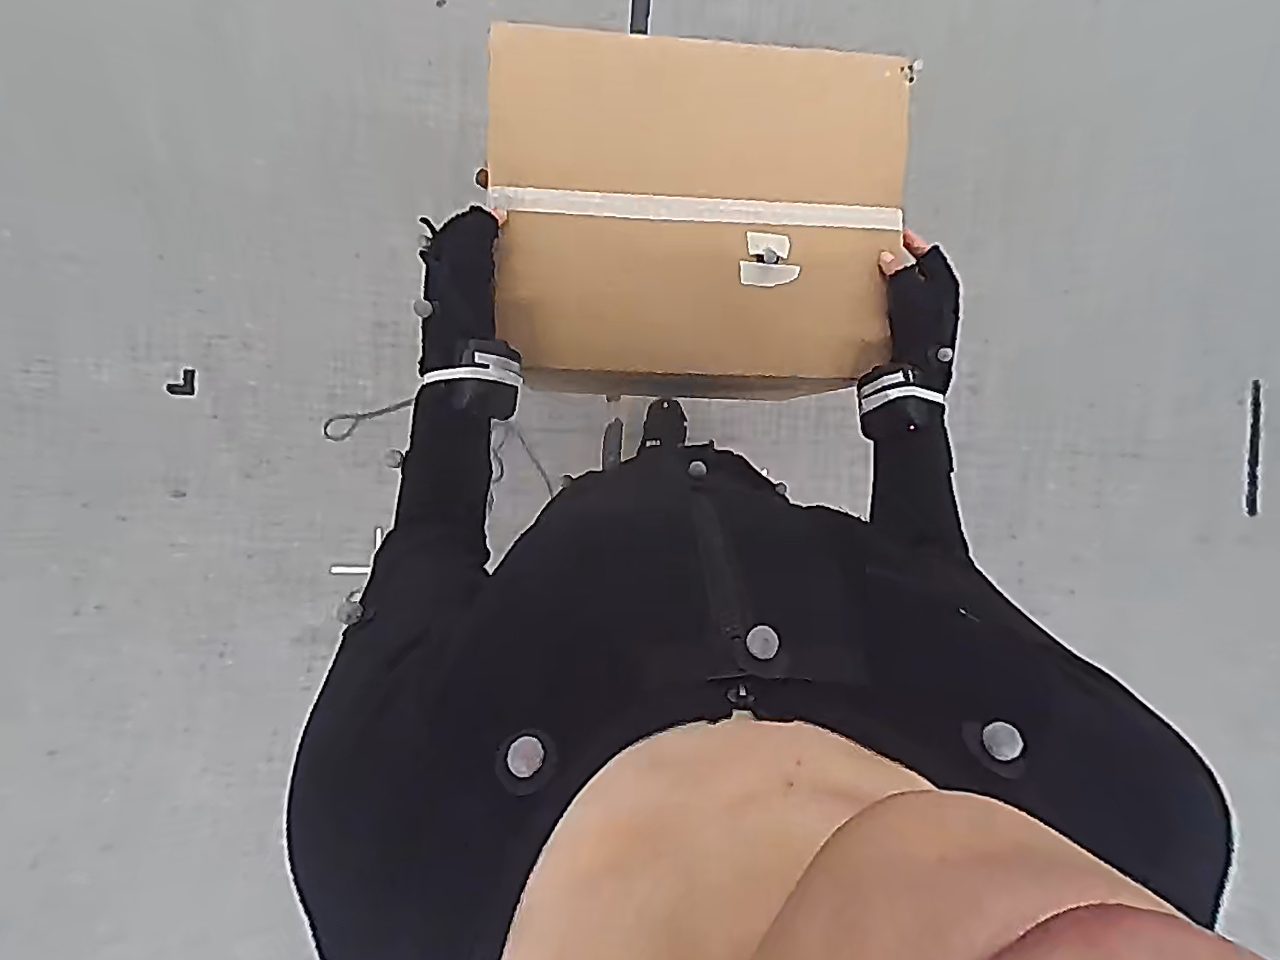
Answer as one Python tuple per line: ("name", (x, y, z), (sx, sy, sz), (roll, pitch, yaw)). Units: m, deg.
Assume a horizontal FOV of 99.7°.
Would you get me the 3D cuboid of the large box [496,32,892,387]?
("large box", (0.045, -0.289, 0.691), (0.408, 0.320, 0.320), (0, 95, -5))
